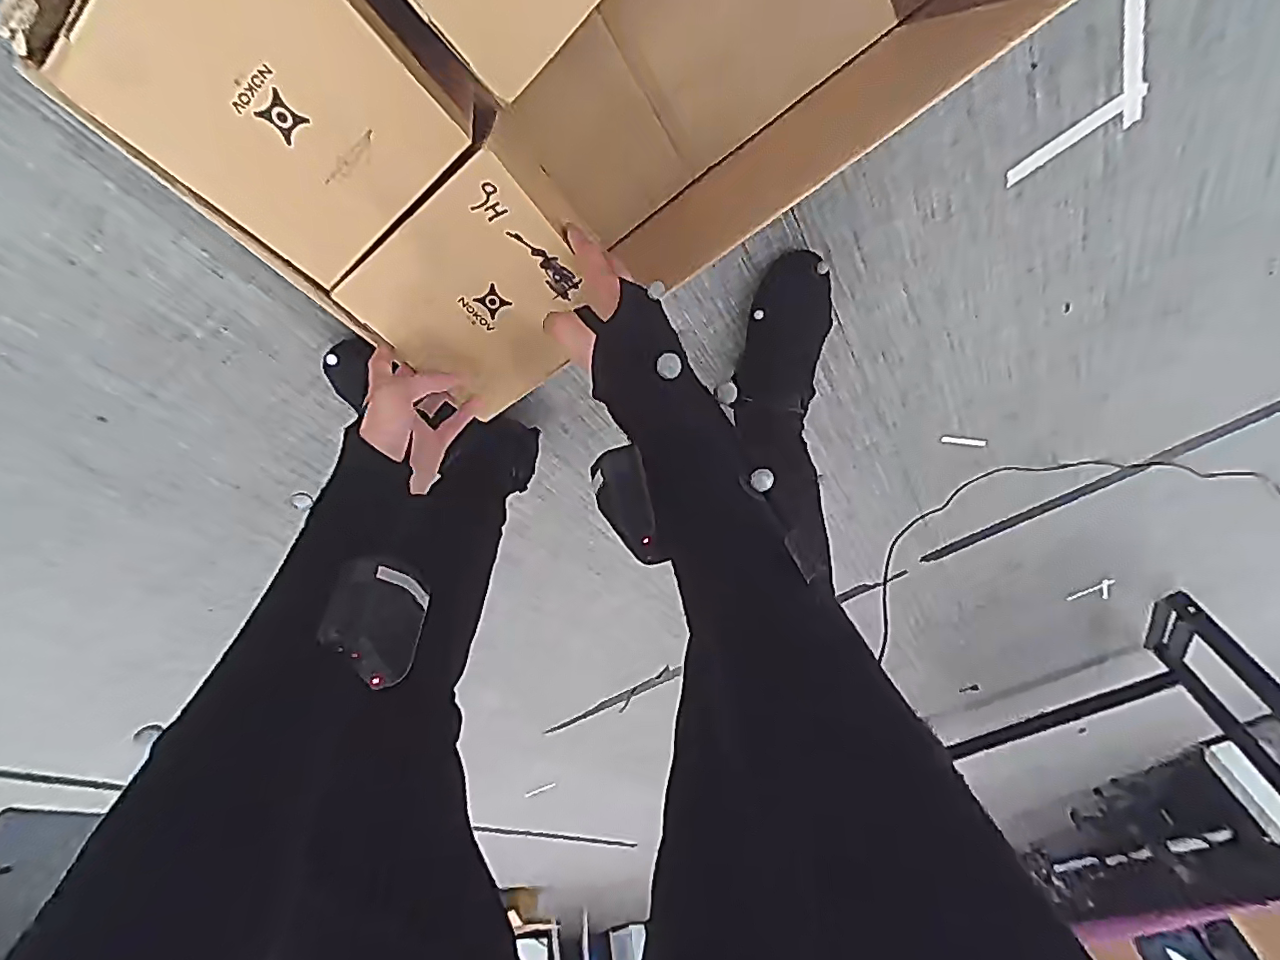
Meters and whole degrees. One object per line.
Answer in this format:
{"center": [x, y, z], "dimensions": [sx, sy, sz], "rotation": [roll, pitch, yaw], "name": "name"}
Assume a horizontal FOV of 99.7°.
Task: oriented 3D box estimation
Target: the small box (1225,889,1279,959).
{"center": [1.817, 1.271, 1.518], "dimensions": [0.168, 0.176, 0.179], "rotation": [-31, 134, 17], "name": "small box"}
